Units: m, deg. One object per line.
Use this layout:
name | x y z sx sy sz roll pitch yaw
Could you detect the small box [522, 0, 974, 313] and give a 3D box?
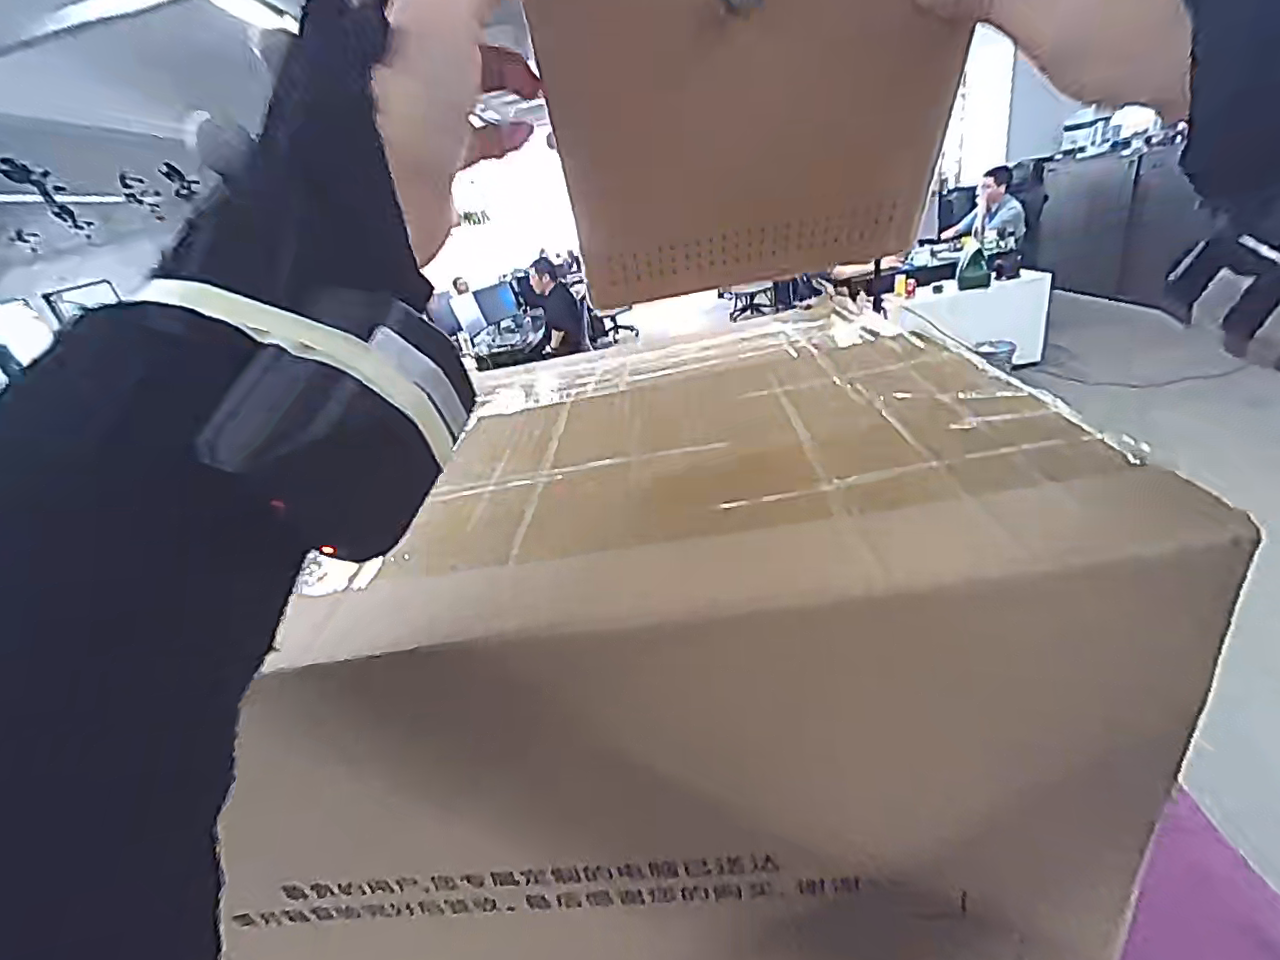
small box | 0.043 -0.214 0.282 0.179 0.176 0.168 -10 51 3
